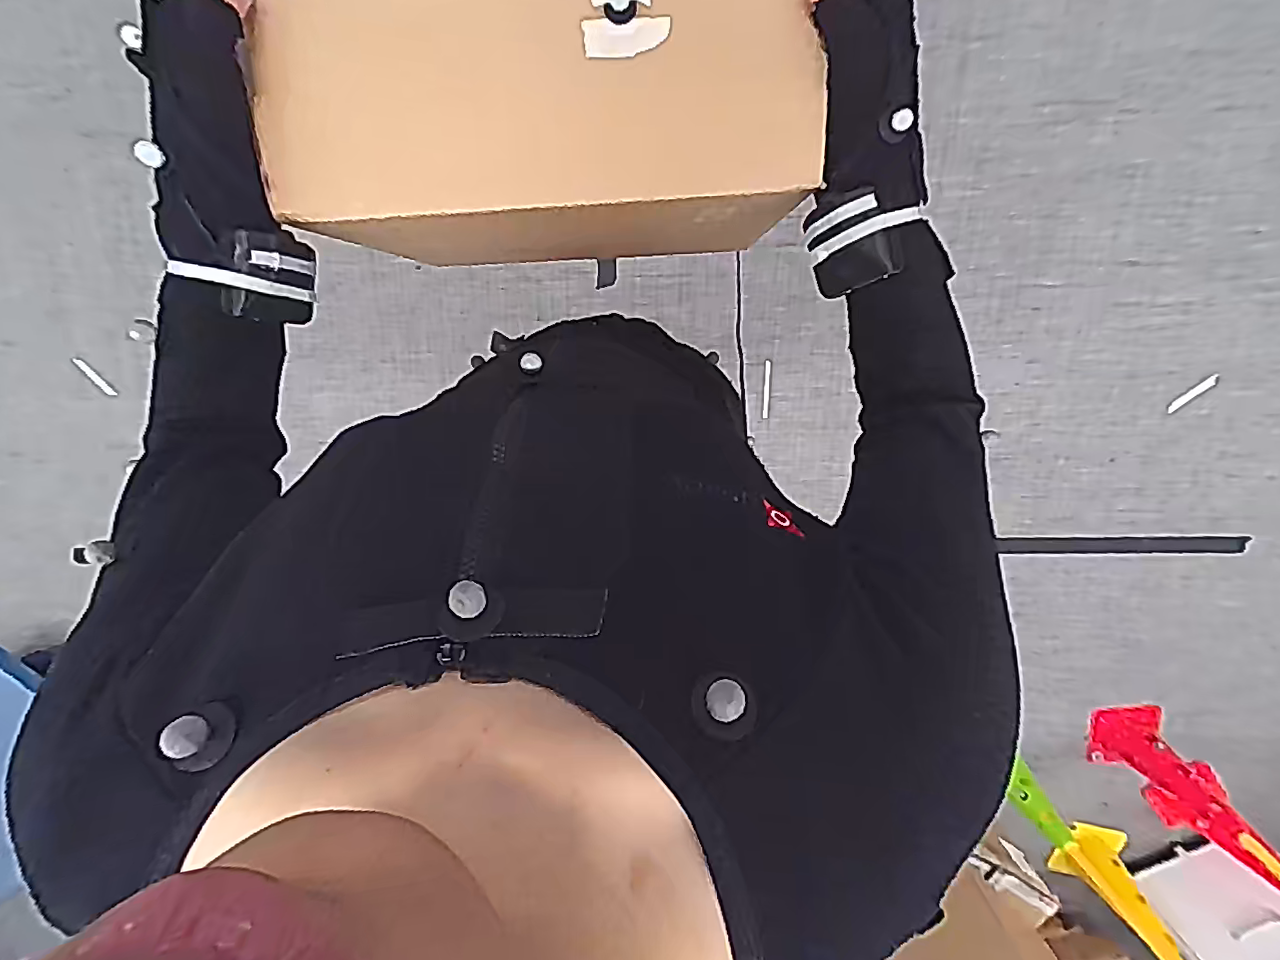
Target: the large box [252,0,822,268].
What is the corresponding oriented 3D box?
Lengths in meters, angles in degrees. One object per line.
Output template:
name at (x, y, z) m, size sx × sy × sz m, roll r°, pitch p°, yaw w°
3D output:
large box at (-0.073, -0.397, 0.513) m, size 0.408 × 0.320 × 0.320 m, roll -3°, pitch 106°, yaw 2°
